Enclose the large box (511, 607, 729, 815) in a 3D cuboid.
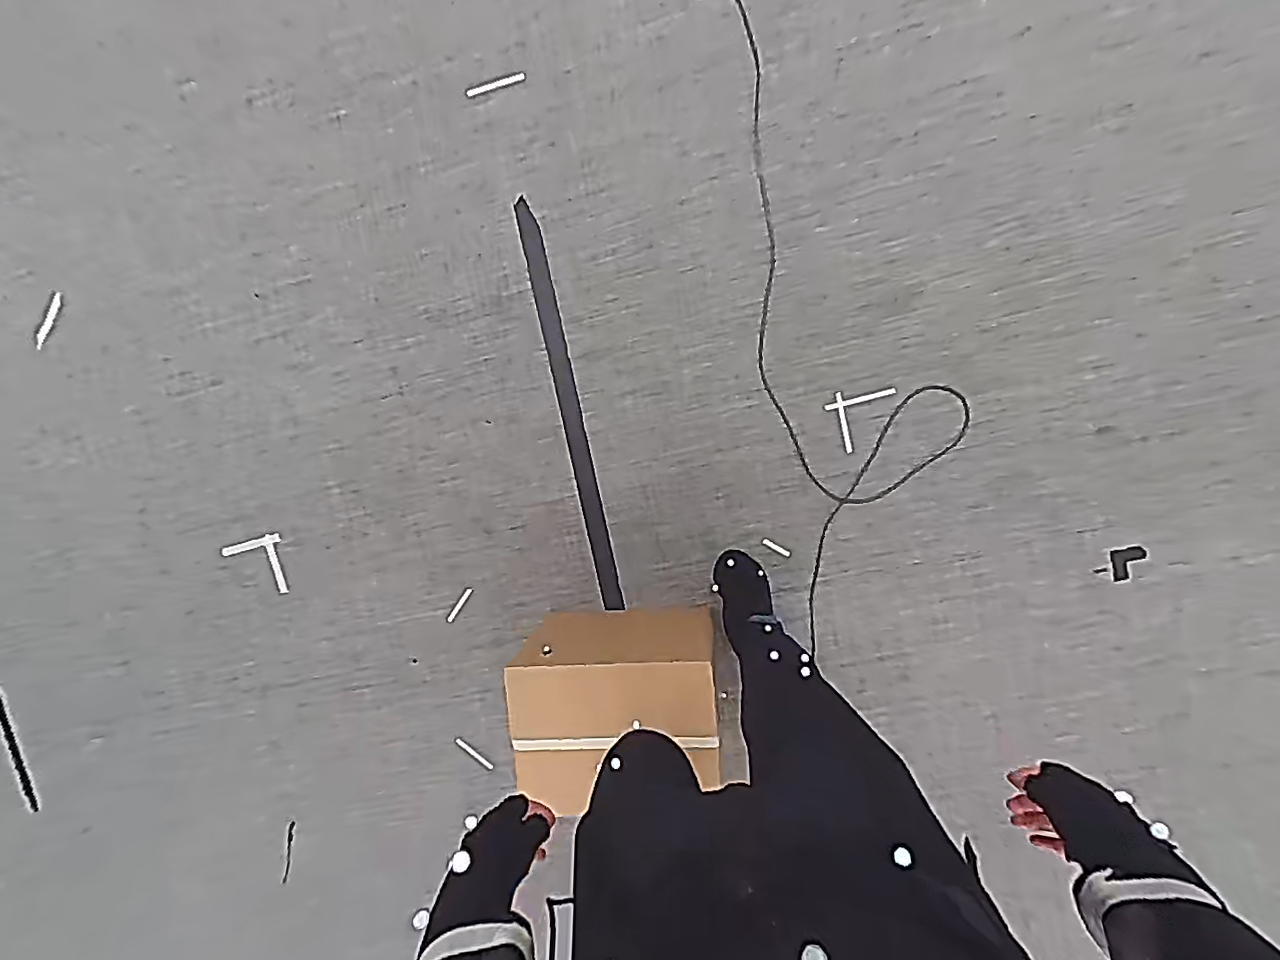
[{"bbox_3d":[-0.024,0.481,1.181,0.408,0.320,0.320,-5,96,7],"label":"large box"}]
